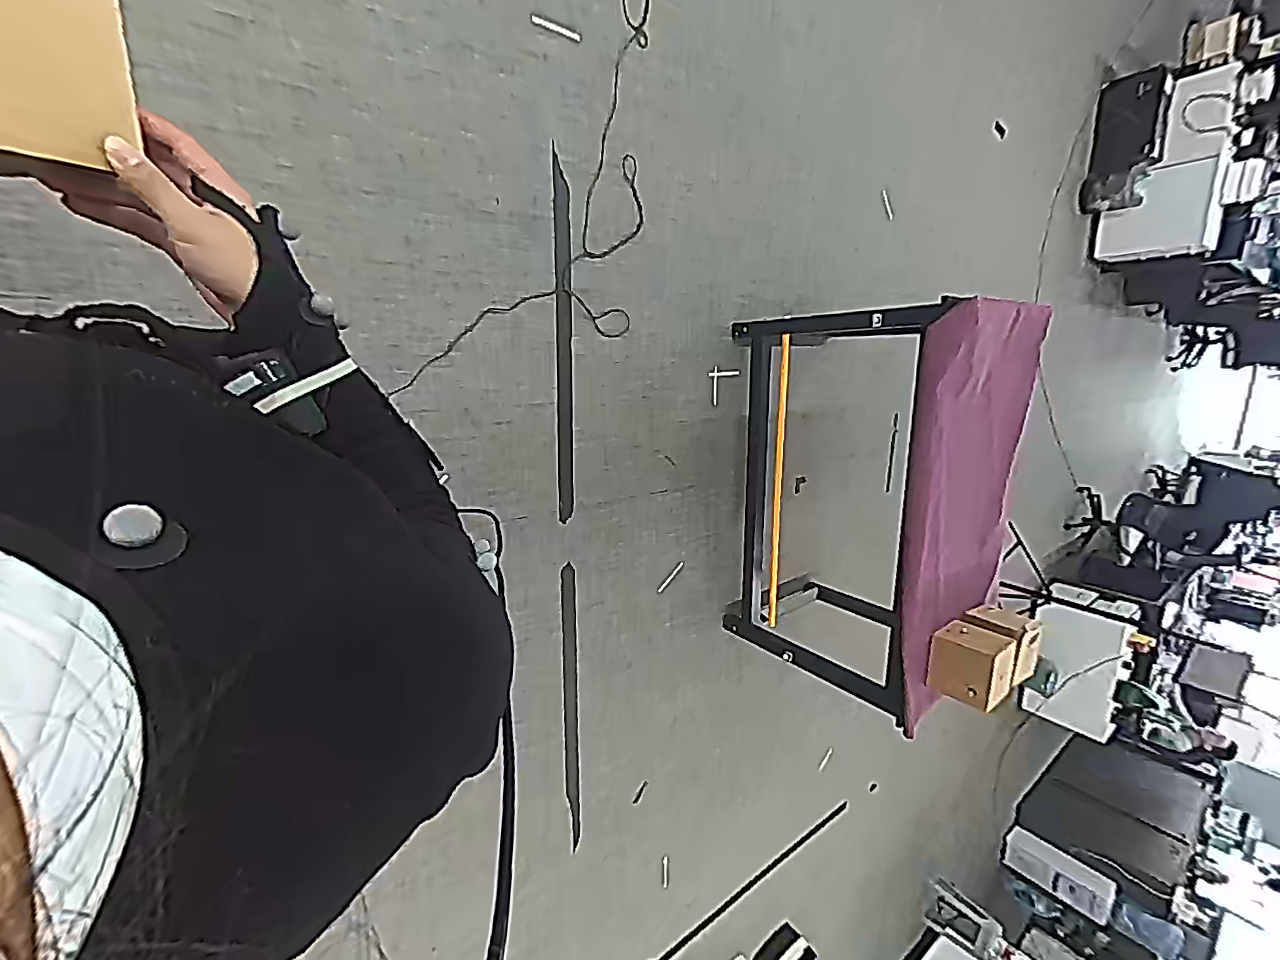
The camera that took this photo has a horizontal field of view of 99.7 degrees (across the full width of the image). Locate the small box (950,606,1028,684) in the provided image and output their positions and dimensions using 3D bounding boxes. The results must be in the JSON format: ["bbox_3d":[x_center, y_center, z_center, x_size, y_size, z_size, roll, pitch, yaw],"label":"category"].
[{"bbox_3d":[1.102,0.517,1.729,0.168,0.176,0.179,-1,101,-36],"label":"small box"}]

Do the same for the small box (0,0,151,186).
[{"bbox_3d":[-0.391,-0.252,0.252,0.179,0.176,0.168,-31,131,-62],"label":"small box"}]

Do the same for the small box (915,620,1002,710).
[{"bbox_3d":[0.943,0.542,1.610,0.168,0.176,0.179,-8,103,-39],"label":"small box"}]
